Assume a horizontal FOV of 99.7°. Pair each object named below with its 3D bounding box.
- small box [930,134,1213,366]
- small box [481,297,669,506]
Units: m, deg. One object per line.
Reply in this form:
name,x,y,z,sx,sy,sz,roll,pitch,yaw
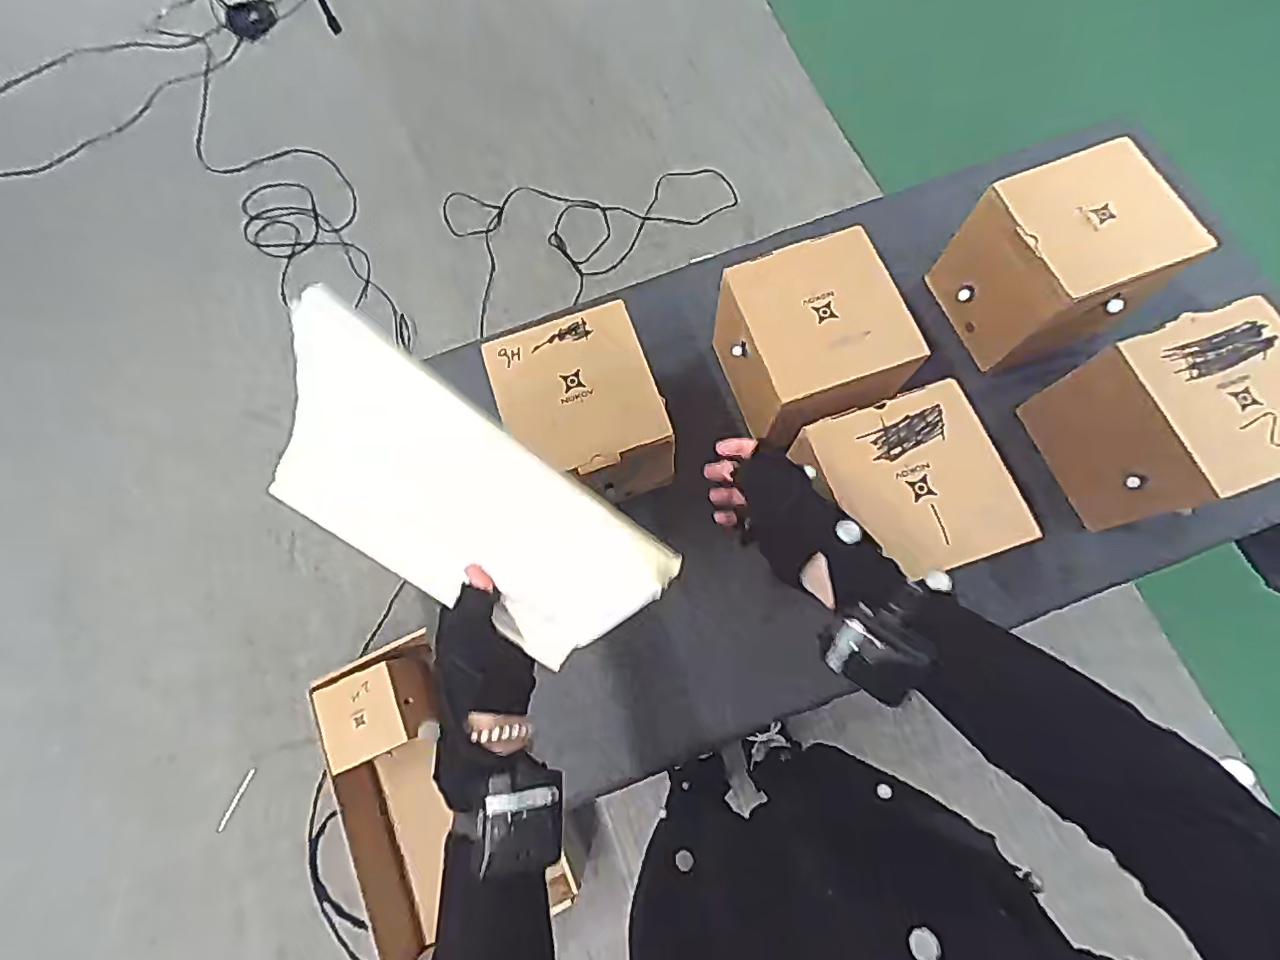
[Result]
small box,0.505,-0.270,0.667,0.179,0.176,0.168,-21,73,-2
small box,-0.066,-0.078,0.644,0.168,0.176,0.179,-18,74,-2
